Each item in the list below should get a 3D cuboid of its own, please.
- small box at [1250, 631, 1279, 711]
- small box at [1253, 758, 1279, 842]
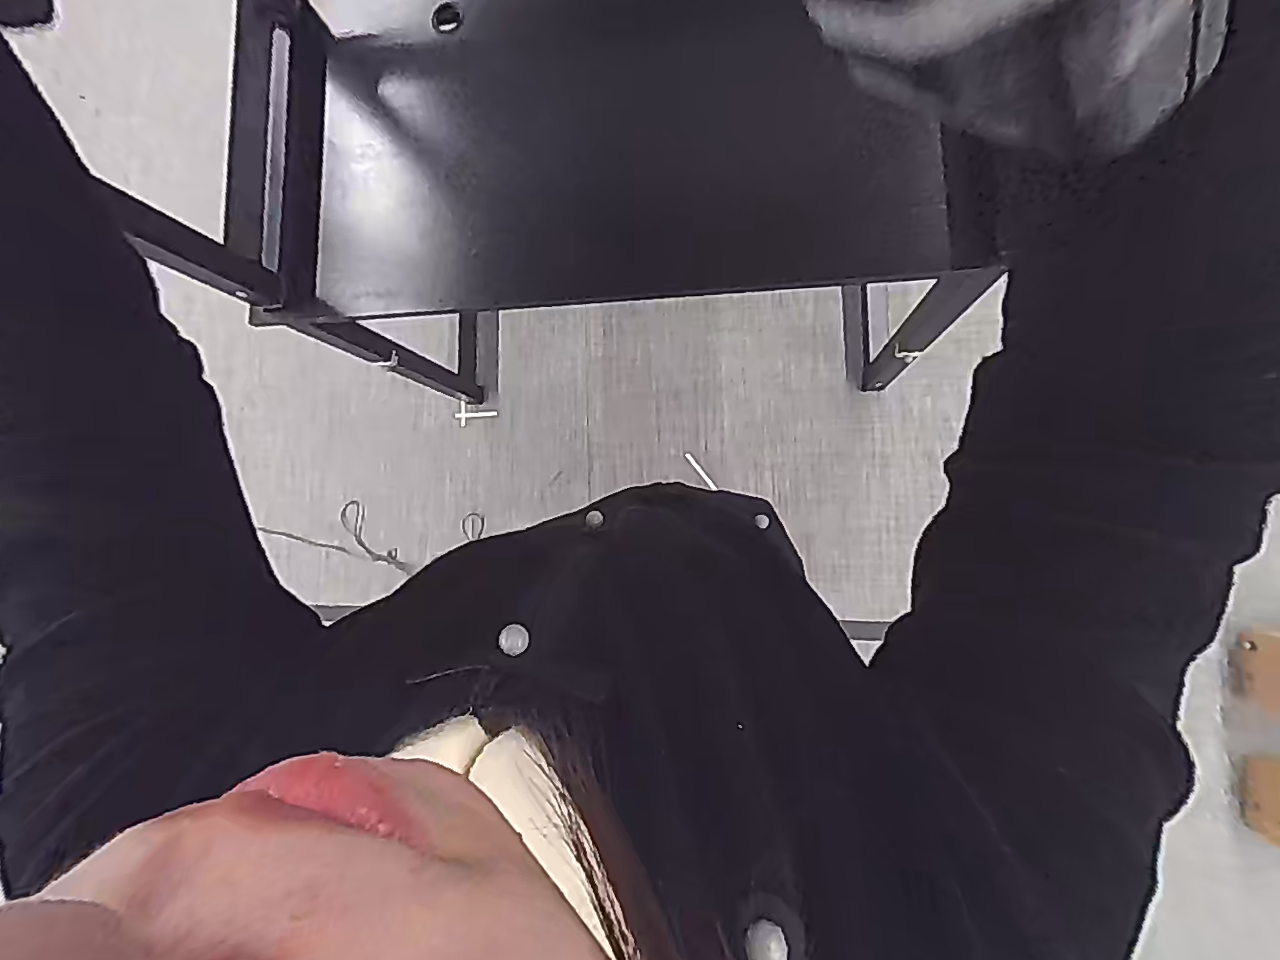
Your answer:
[{"bbox_3d":[1.454,0.419,1.139,0.179,0.176,0.168,1,86,10],"label":"small box"},{"bbox_3d":[1.446,0.701,1.121,0.179,0.176,0.168,4,87,10],"label":"small box"}]
